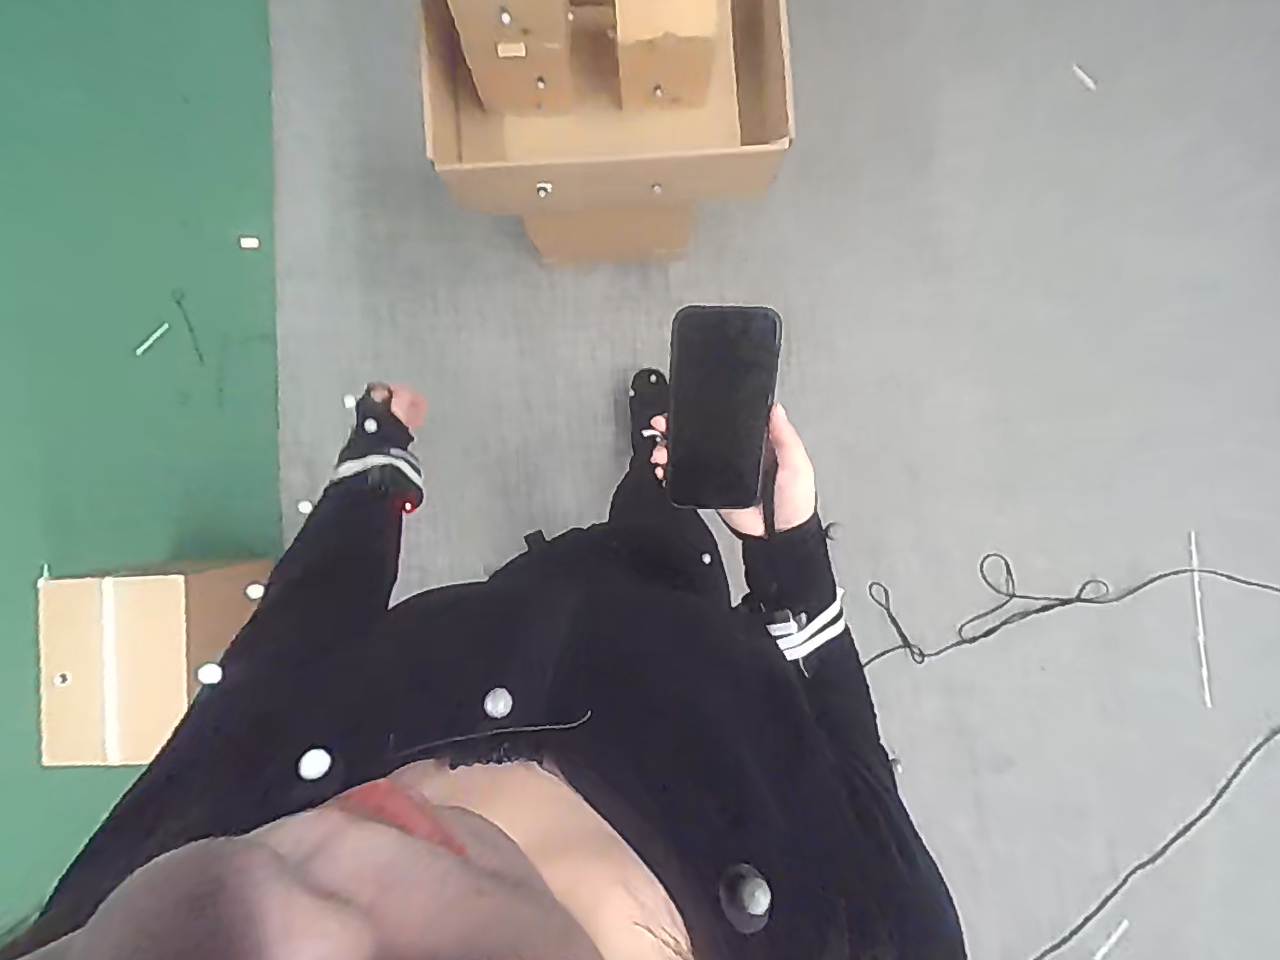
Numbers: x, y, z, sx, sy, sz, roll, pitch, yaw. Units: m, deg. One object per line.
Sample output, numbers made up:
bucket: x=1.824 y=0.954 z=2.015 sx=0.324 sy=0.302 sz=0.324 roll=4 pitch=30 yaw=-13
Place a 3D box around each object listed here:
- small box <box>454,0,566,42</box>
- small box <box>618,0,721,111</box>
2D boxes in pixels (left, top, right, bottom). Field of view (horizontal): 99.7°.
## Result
small box: x=-0.200 y=-0.789 z=0.786 sx=0.168 sy=0.176 sz=0.179 roll=-3 pitch=89 yaw=-1
small box: x=0.046 y=-0.796 z=0.952 sx=0.168 sy=0.176 sz=0.179 roll=-3 pitch=90 yaw=1
